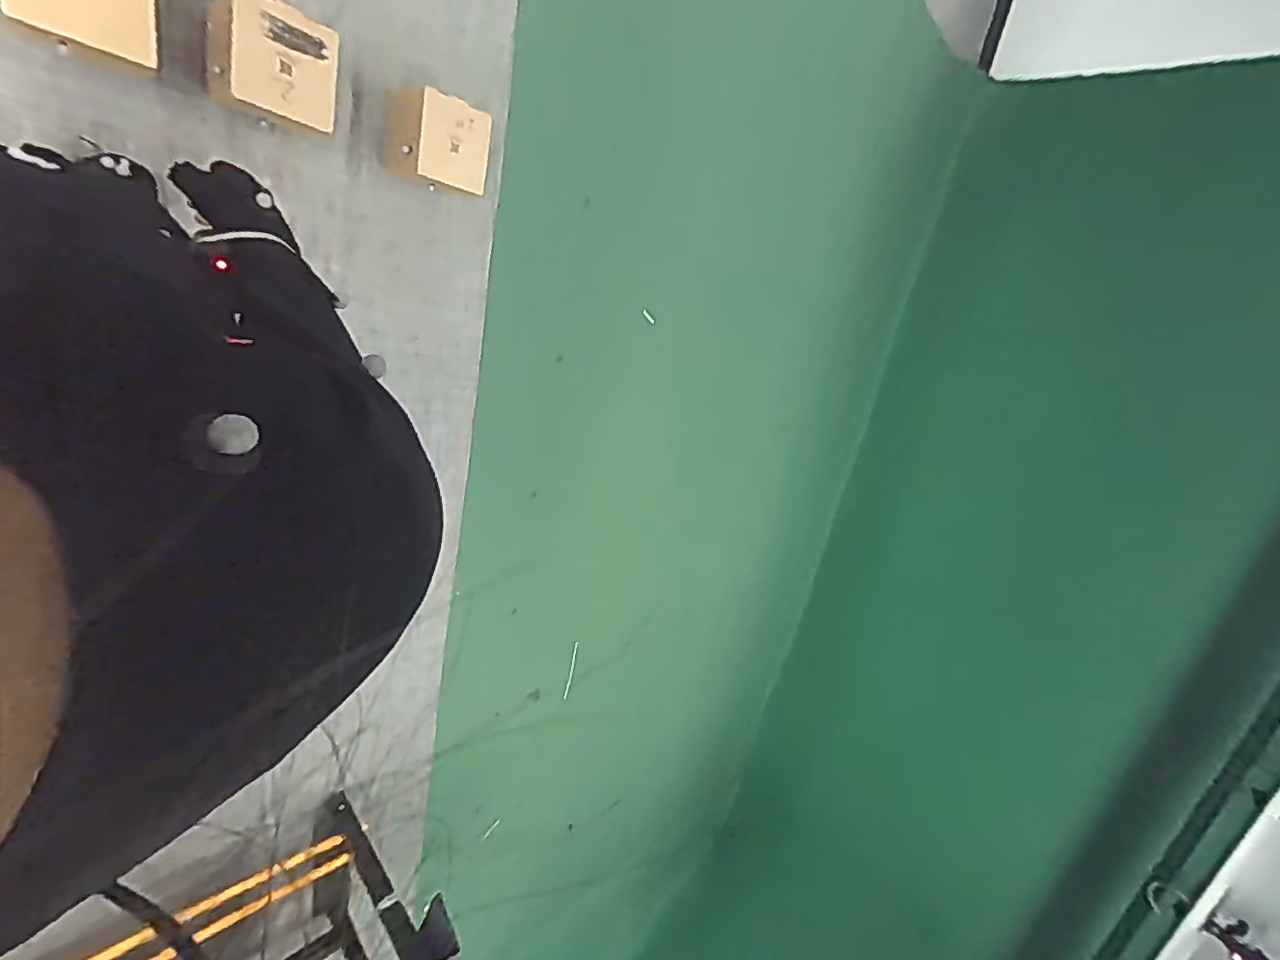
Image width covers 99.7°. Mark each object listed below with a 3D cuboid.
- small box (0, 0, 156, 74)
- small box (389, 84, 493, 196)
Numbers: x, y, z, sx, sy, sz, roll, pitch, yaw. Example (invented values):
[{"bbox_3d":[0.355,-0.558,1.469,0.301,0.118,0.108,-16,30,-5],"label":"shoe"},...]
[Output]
[{"bbox_3d":[-0.868,-0.766,0.836,0.168,0.176,0.179,-6,115,-46],"label":"small box"},{"bbox_3d":[-0.472,-0.791,1.273,0.168,0.176,0.179,-7,116,-48],"label":"small box"}]
